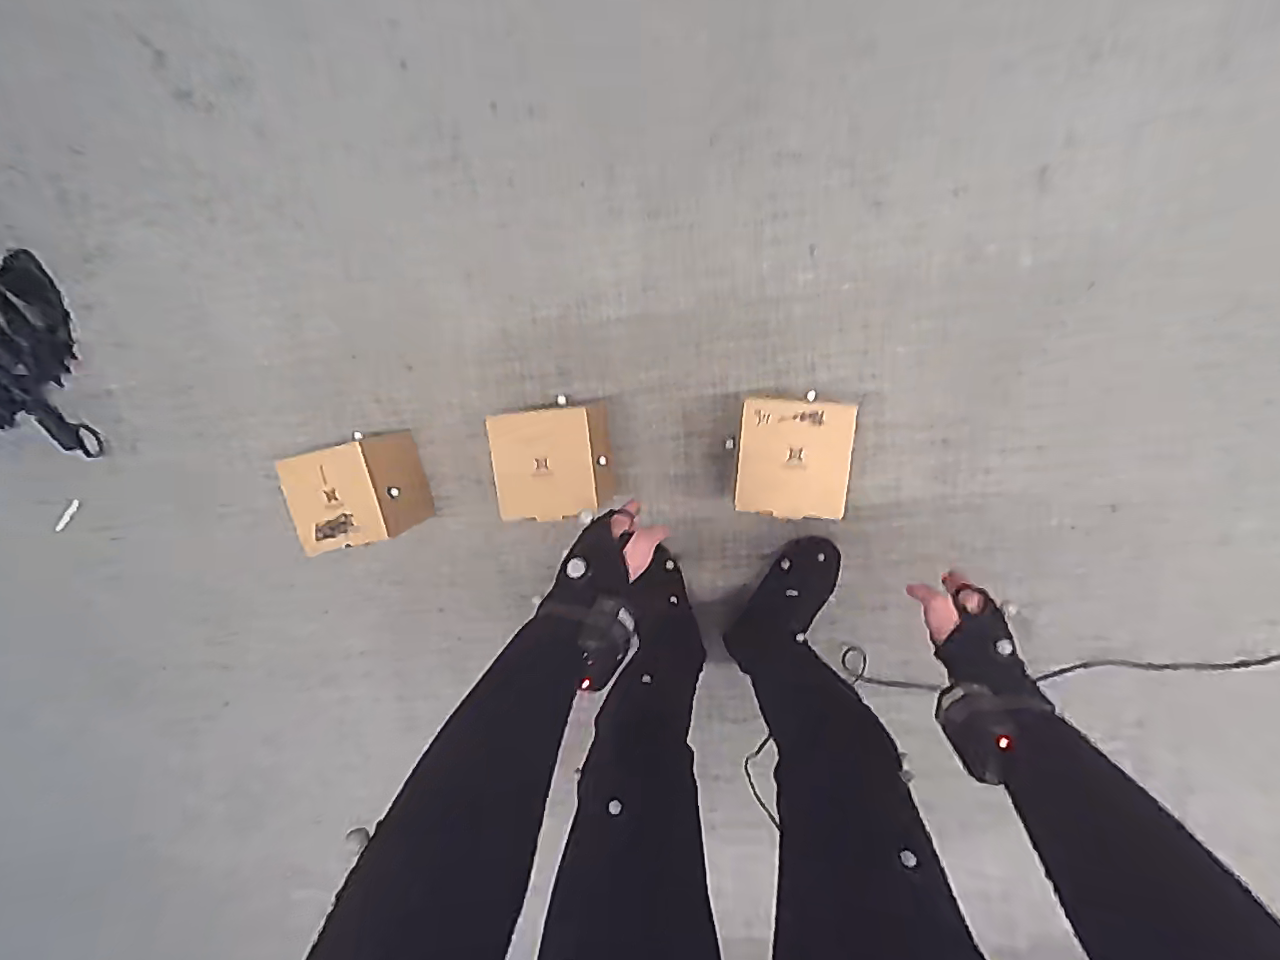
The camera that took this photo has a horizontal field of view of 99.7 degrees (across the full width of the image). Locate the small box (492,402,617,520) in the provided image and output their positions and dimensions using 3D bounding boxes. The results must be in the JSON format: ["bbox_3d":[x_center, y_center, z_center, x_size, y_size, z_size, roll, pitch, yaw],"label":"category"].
[{"bbox_3d":[-0.139,-0.039,0.945,0.168,0.176,0.179,-5,100,7],"label":"small box"}]

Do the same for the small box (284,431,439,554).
[{"bbox_3d":[-0.501,0.017,1.002,0.168,0.176,0.179,-12,99,9],"label":"small box"}]

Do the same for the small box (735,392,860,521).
[{"bbox_3d":[0.247,-0.047,0.890,0.168,0.176,0.179,5,103,7],"label":"small box"}]
